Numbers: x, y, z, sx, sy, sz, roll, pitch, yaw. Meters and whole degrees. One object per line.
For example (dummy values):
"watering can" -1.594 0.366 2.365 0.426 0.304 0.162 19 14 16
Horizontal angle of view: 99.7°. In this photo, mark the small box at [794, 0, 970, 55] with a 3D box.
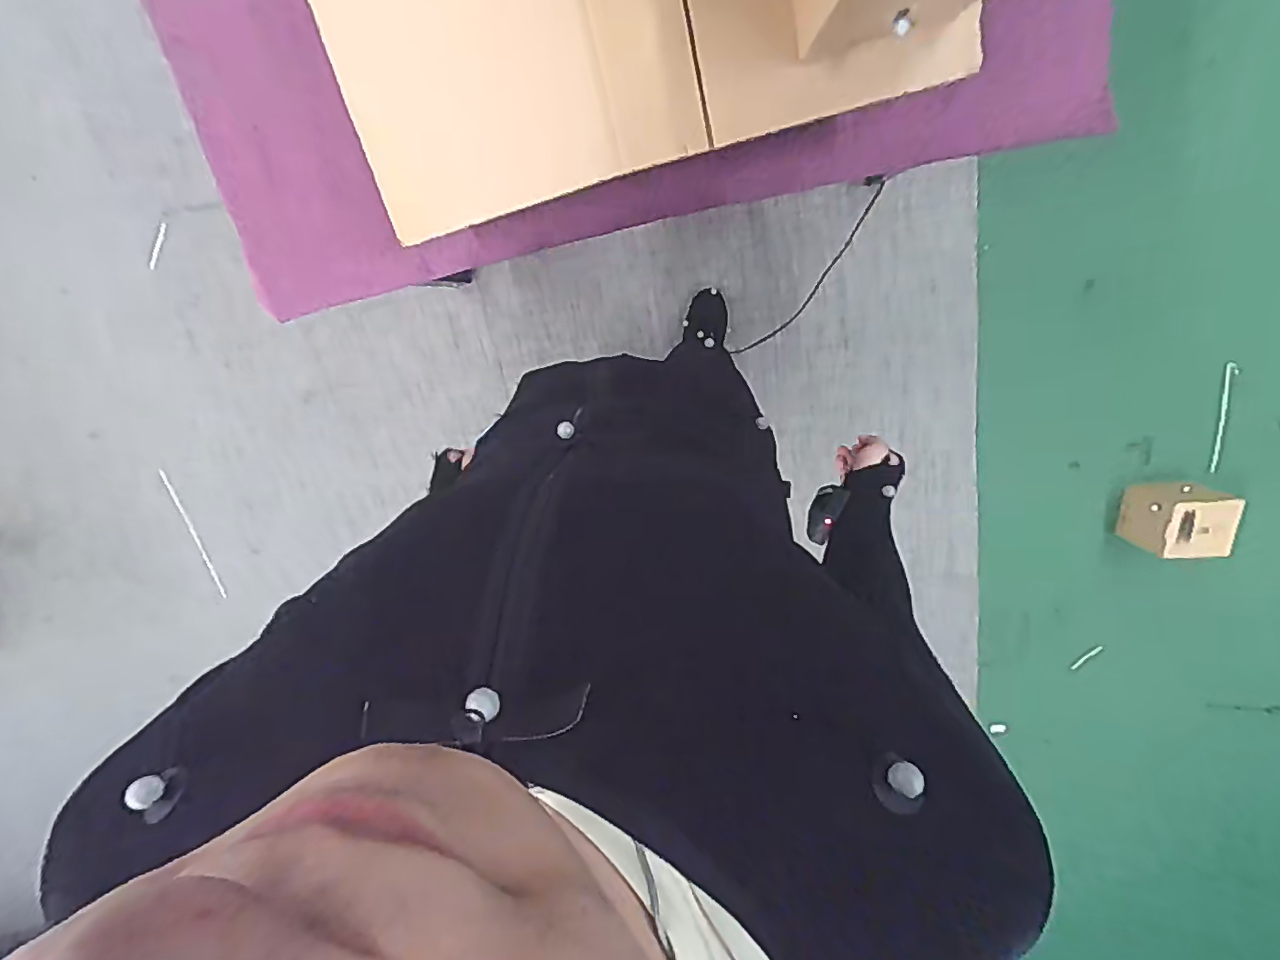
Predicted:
"small box" 0.224 -0.508 0.450 0.168 0.176 0.179 -13 108 5
